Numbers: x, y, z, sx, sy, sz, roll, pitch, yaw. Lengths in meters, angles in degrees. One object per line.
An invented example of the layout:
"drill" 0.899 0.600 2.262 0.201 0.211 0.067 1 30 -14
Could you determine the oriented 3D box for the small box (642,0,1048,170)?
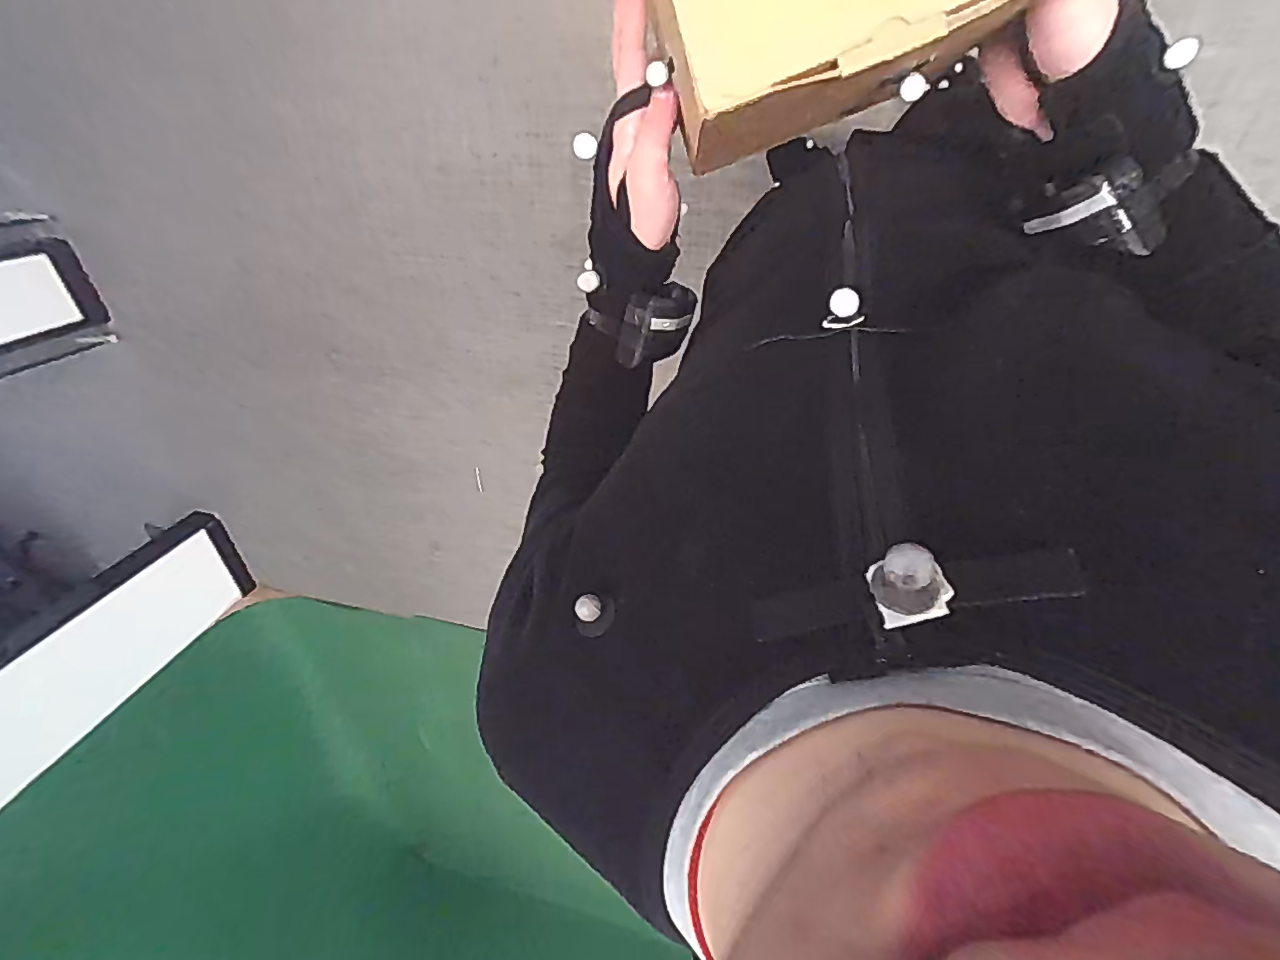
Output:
"small box" 0.083 -0.285 0.280 0.168 0.176 0.179 -17 108 10
